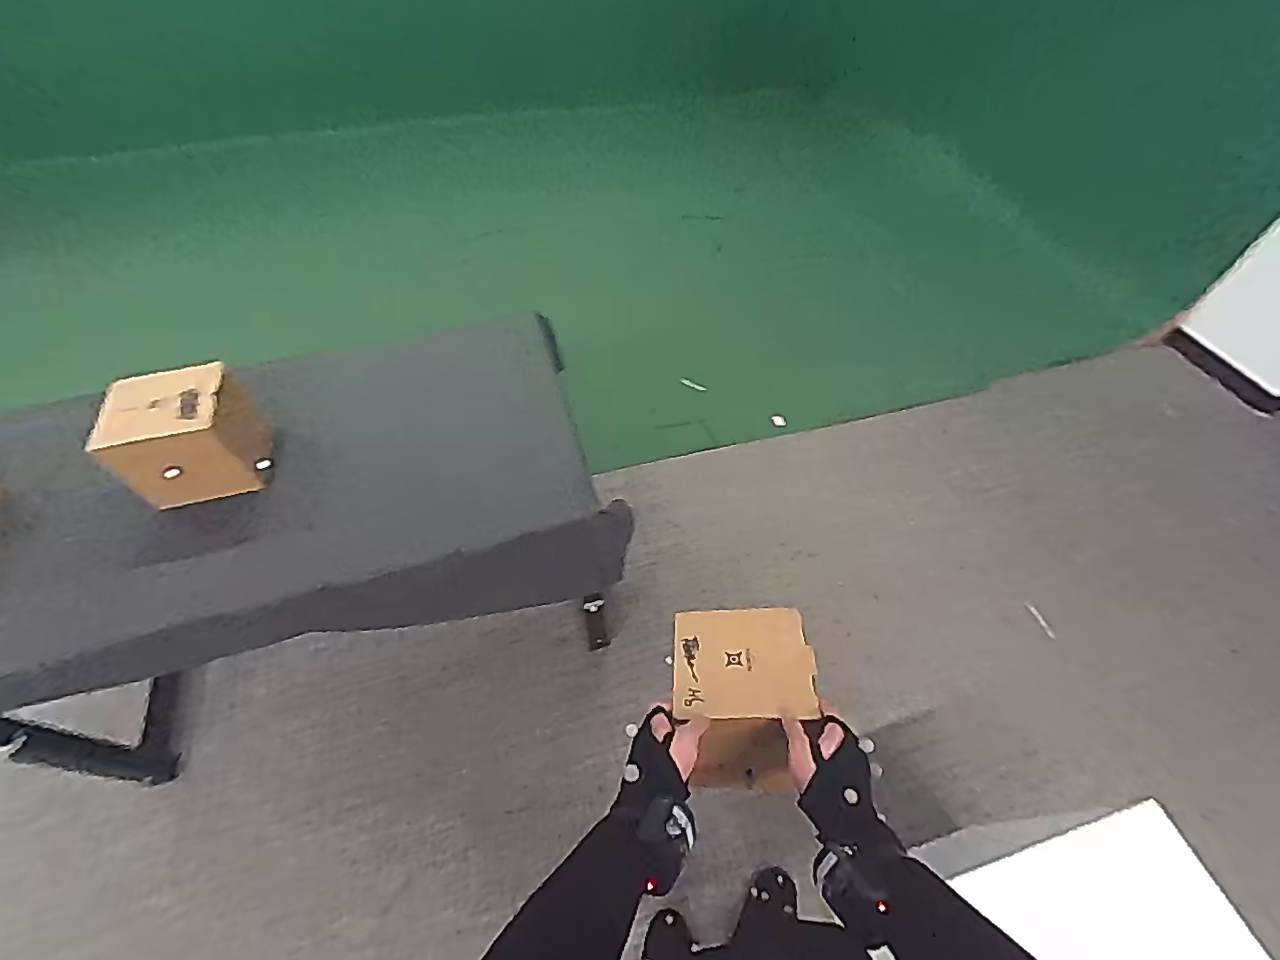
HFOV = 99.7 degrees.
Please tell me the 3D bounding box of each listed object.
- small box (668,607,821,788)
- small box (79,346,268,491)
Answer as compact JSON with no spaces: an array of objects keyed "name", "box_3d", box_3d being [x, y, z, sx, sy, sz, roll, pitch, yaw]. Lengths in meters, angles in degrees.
[{"name":"small box","box_3d":[0.131,0.291,0.728,0.179,0.176,0.168,-2,35,6]},{"name":"small box","box_3d":[-0.782,-0.103,0.935,0.179,0.176,0.168,-12,54,-10]}]
